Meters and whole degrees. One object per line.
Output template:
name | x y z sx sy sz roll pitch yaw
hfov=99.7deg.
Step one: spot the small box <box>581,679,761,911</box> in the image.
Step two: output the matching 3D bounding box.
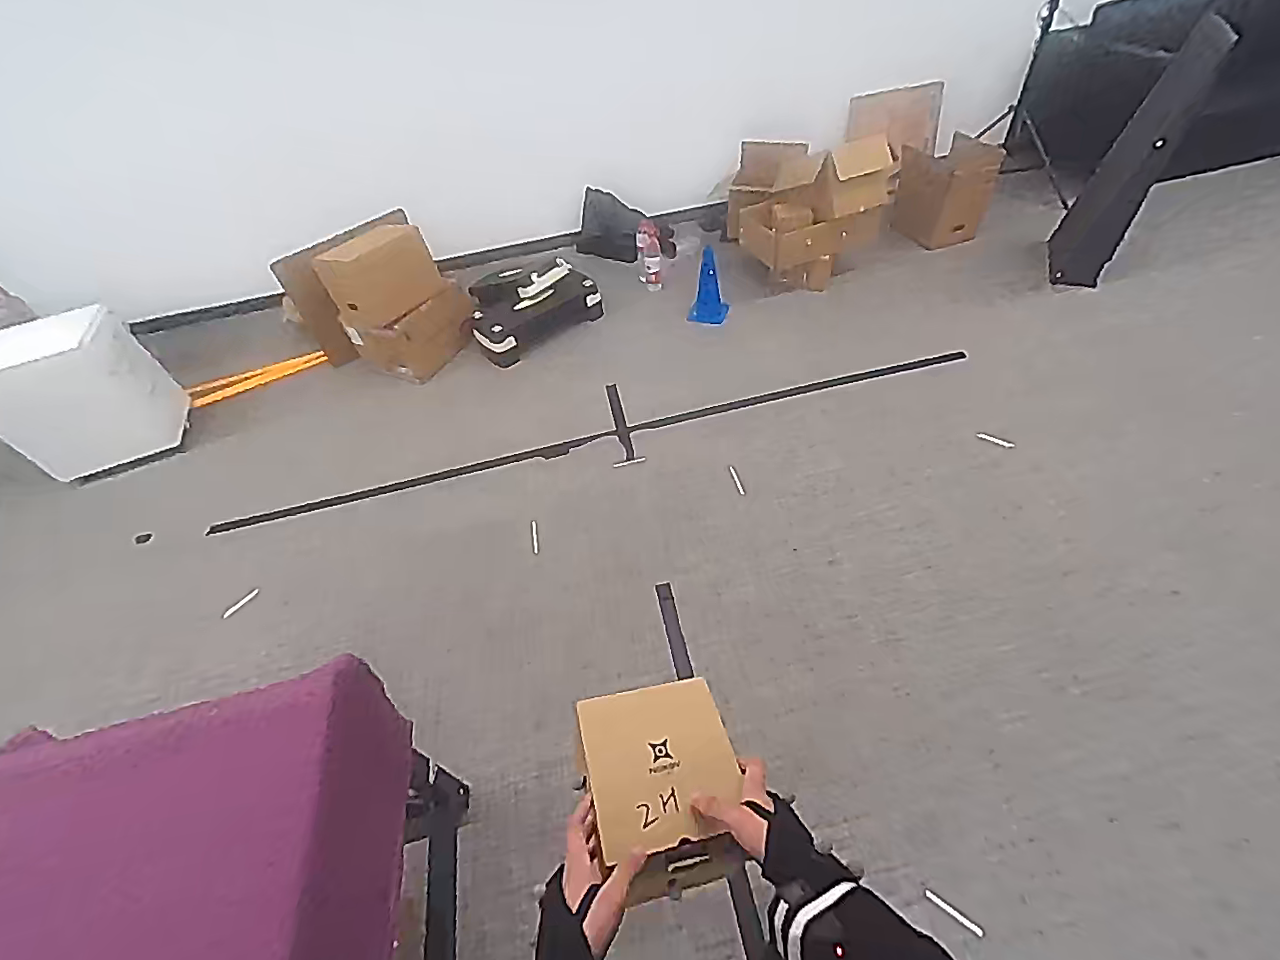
small box | 0.022 0.374 0.651 0.168 0.176 0.179 -6 41 -13
